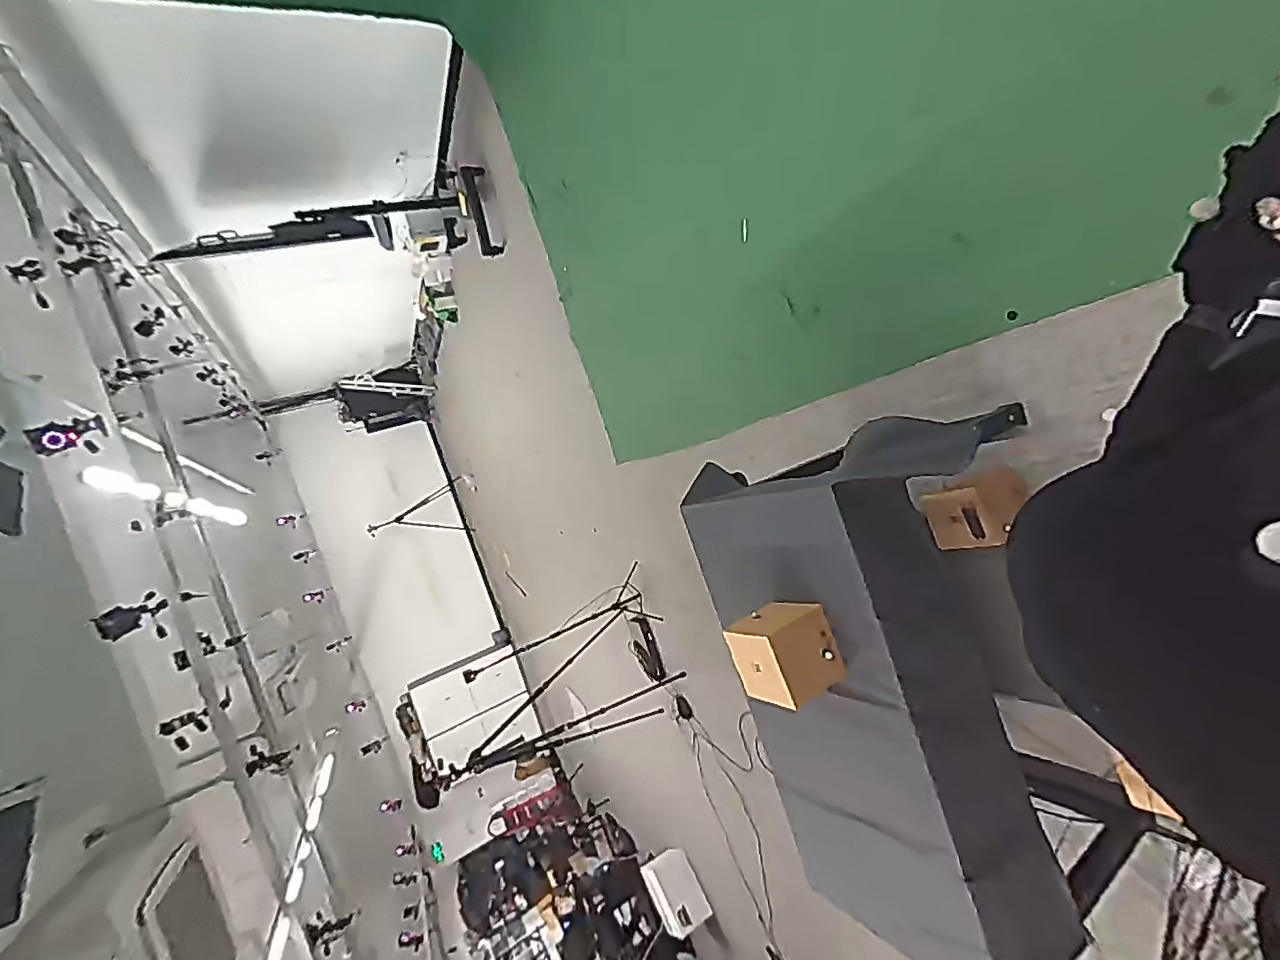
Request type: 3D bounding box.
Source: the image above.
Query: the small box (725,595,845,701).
[{"bbox_3d":[0.333,0.376,1.245,0.179,0.176,0.168,-22,90,64],"label":"small box"}]
